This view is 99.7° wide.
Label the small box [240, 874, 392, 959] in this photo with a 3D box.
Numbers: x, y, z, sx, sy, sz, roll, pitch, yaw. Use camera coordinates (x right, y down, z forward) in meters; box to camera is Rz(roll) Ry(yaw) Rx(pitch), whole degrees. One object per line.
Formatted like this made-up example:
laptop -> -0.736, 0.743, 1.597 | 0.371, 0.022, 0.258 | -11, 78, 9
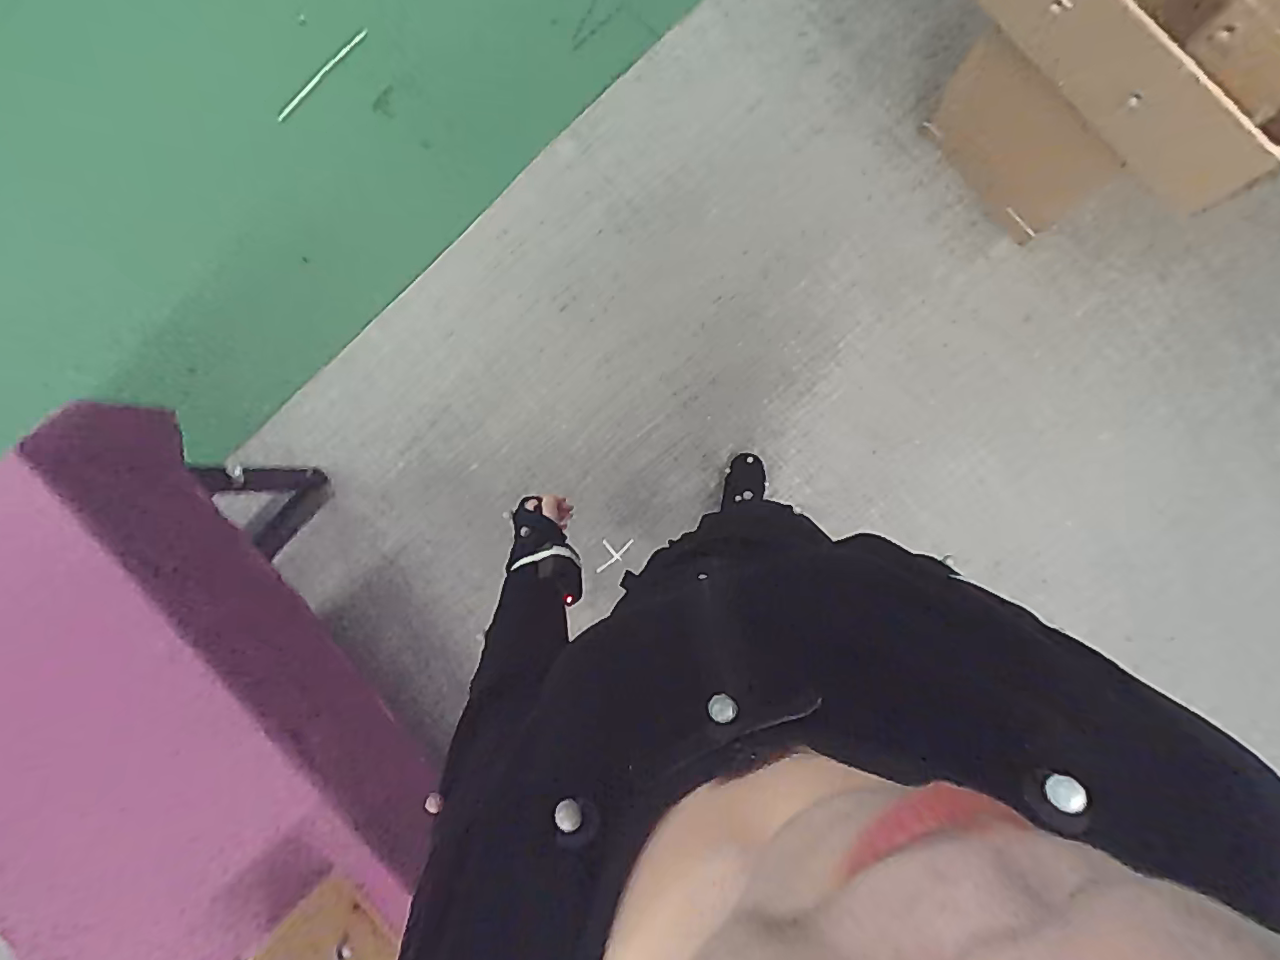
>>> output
small box -> -0.480, 0.711, 0.751 | 0.179, 0.176, 0.168 | -45, 85, 5
